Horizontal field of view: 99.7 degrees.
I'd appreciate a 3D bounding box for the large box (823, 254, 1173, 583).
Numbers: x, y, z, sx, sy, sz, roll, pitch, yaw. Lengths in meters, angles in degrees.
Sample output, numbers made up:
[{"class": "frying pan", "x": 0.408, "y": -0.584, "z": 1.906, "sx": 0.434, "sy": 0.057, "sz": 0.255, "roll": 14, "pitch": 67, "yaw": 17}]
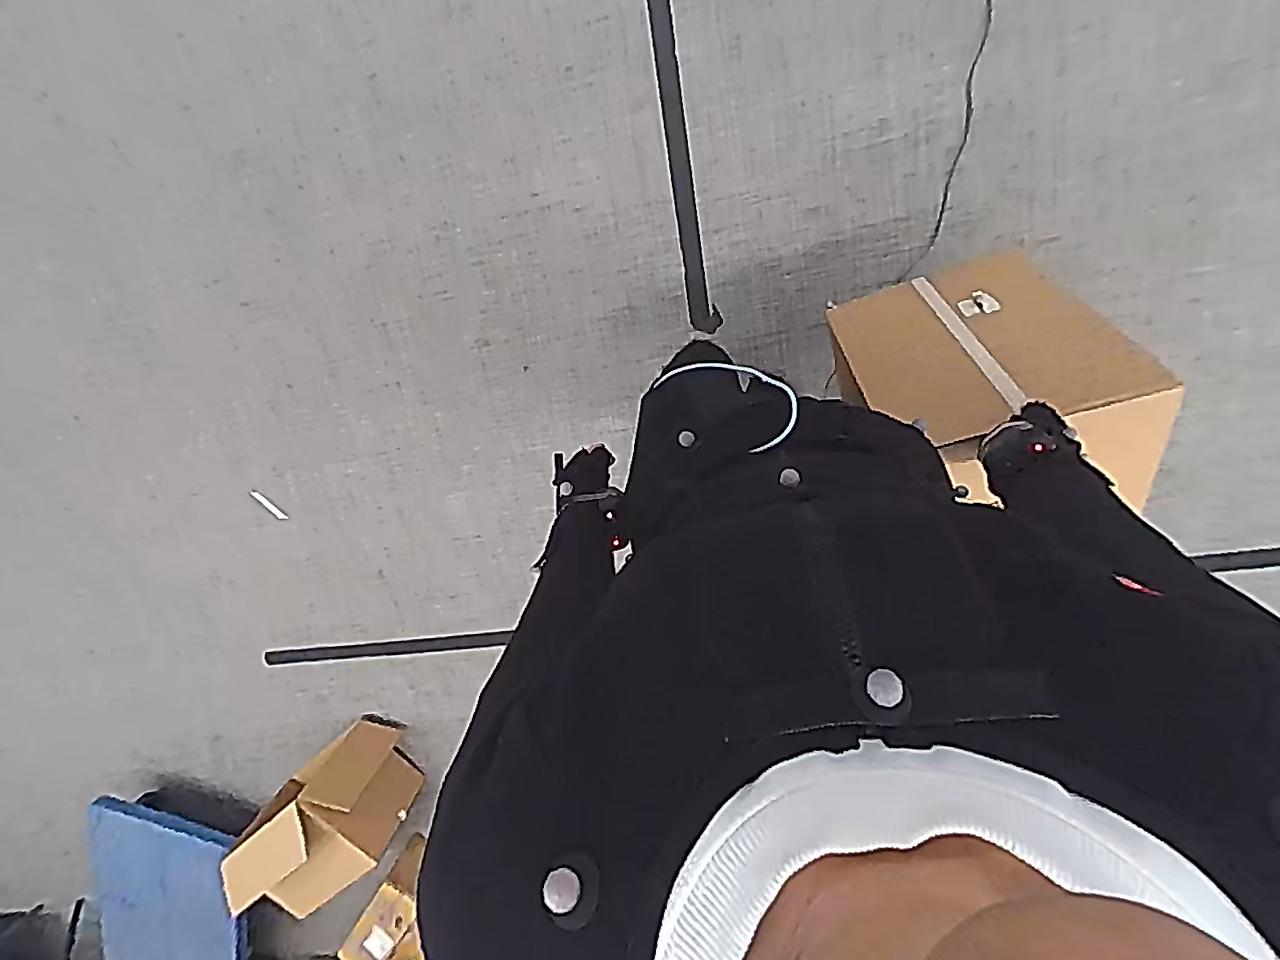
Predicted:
[{"class": "large box", "x": 0.534, "y": -0.104, "z": 0.896, "sx": 0.320, "sy": 0.408, "sz": 0.320, "roll": -16, "pitch": 130, "yaw": 15}]
